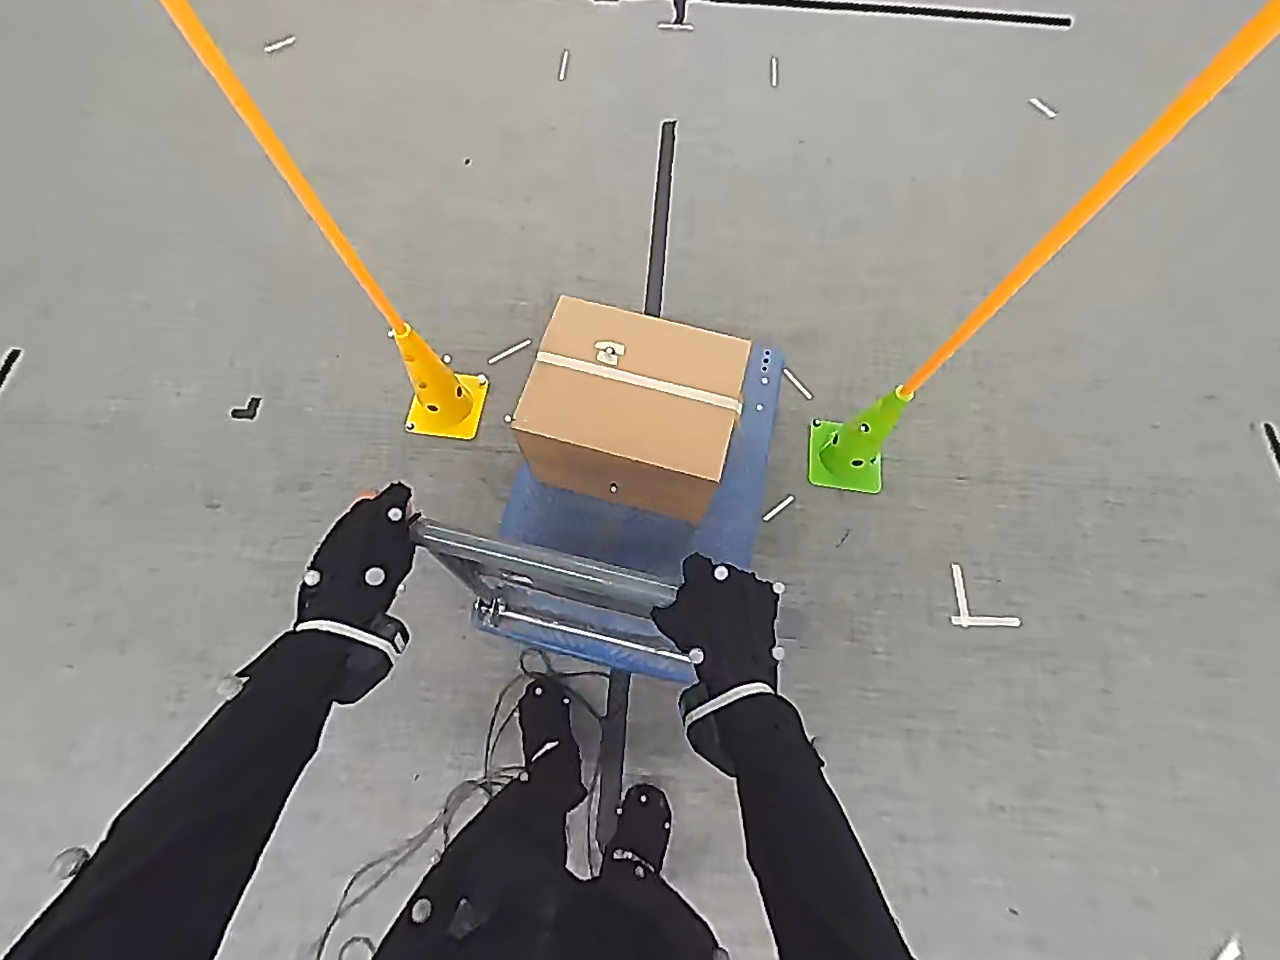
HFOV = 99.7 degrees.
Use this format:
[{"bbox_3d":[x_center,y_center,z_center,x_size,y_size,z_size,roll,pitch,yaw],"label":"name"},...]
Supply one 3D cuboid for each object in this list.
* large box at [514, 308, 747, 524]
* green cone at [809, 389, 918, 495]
[{"bbox_3d":[-0.010,-0.124,1.201,0.408,0.320,0.320,15,70,5],"label":"large box"},{"bbox_3d":[0.584,-0.121,1.363,0.202,0.368,0.200,8,70,1],"label":"green cone"}]
